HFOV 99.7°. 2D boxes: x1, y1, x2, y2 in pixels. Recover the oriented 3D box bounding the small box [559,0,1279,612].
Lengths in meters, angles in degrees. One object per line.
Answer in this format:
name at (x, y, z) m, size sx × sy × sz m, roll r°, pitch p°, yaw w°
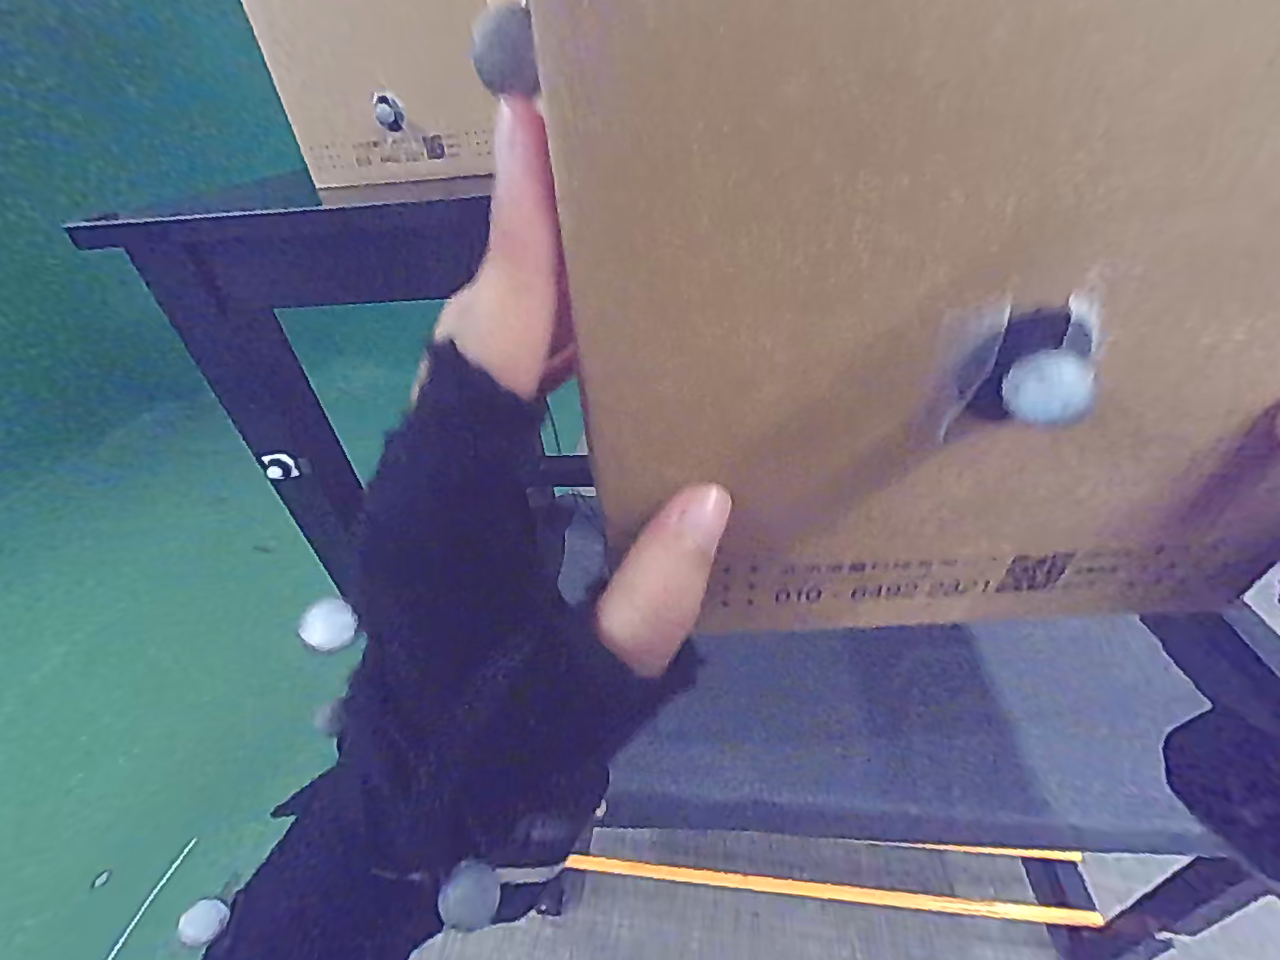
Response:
small box at (0.074, -0.077, 0.152) m, size 0.168 × 0.176 × 0.179 m, roll -2°, pitch 40°, yaw 1°
